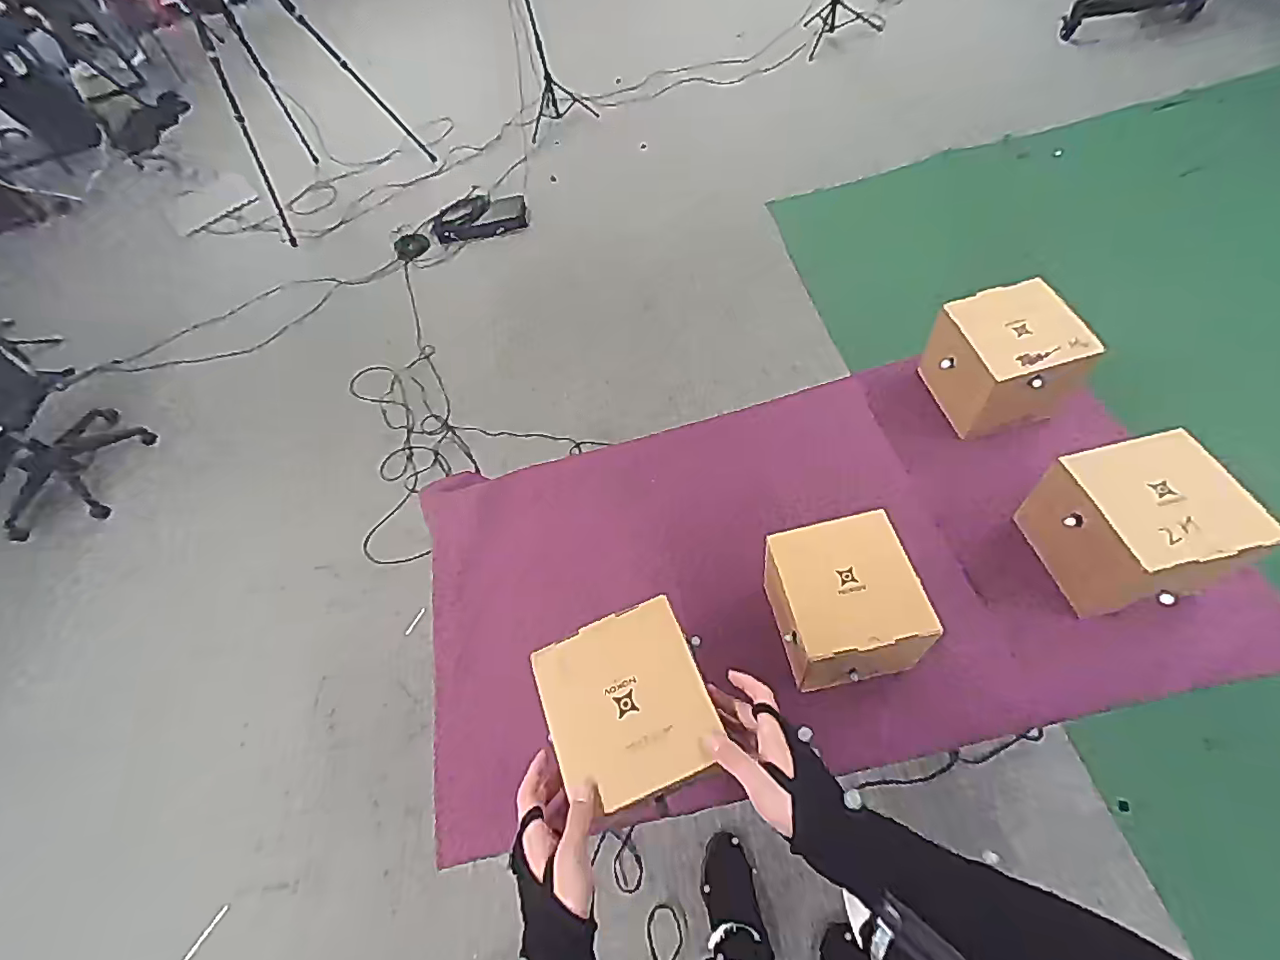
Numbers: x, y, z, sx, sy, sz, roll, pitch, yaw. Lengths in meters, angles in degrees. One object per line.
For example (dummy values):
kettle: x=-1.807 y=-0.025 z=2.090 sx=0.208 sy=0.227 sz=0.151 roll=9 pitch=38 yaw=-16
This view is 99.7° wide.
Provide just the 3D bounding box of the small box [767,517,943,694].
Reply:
small box: x=0.281 y=0.180 z=0.758 sx=0.168 sy=0.176 sz=0.179 roll=-13 pitch=56 yaw=2

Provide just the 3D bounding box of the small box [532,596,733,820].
small box: x=-0.004 y=0.264 z=0.620 sx=0.168 sy=0.176 sz=0.179 roll=-23 pitch=58 yaw=-2

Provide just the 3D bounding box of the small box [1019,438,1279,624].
small box: x=0.671 y=0.074 z=0.742 sx=0.168 sy=0.176 sz=0.179 roll=-14 pitch=55 yaw=4

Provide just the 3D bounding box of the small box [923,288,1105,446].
small box: x=0.613 y=-0.187 z=0.920 sx=0.168 sy=0.176 sz=0.179 roll=-15 pitch=58 yaw=4
